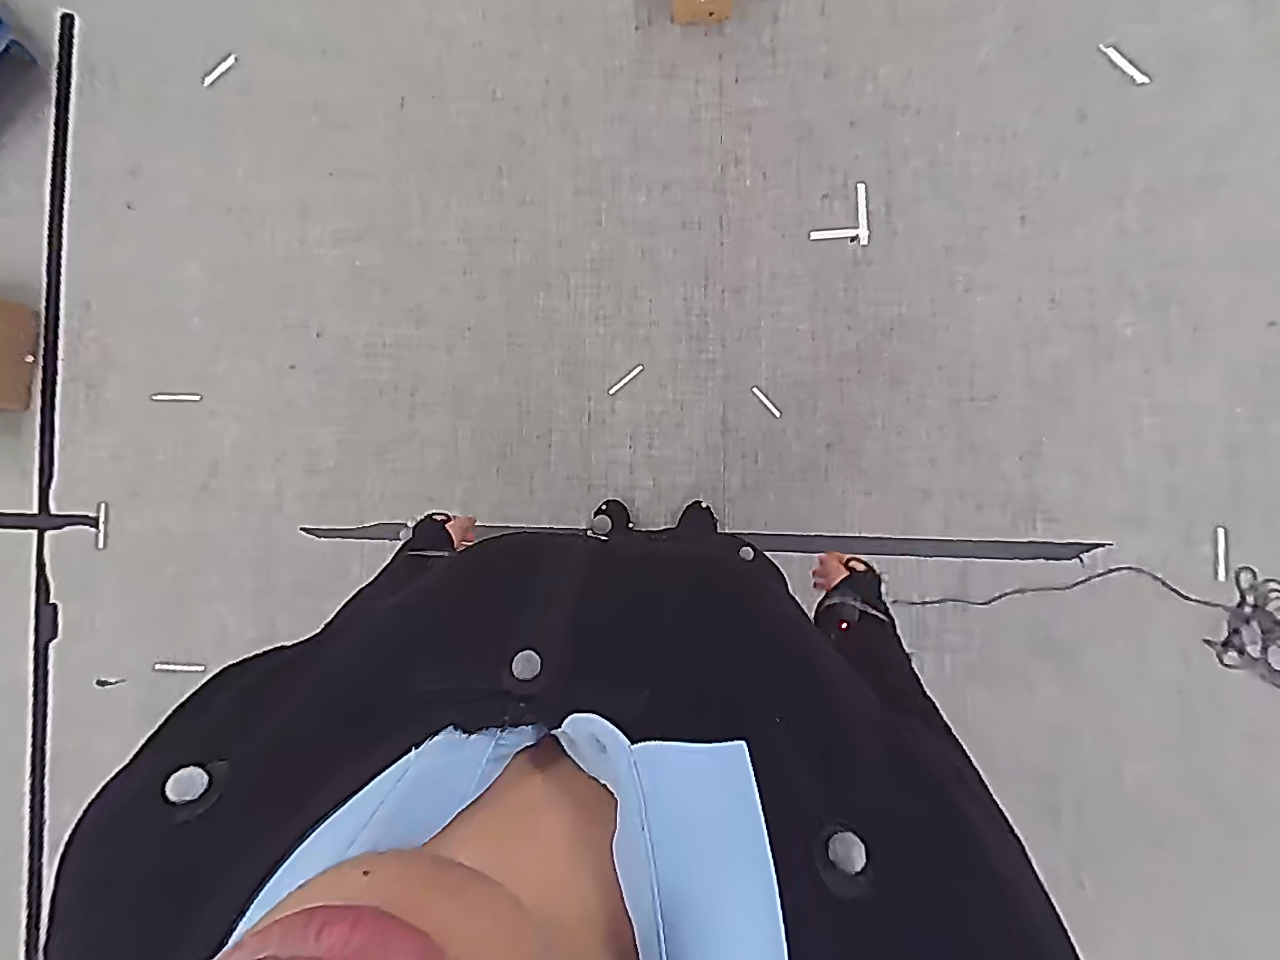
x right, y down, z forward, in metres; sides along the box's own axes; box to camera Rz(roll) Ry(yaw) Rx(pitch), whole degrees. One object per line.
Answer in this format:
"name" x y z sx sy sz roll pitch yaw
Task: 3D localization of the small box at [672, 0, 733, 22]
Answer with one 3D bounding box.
"small box" 0.170 -1.392 1.468 0.168 0.176 0.179 -4 87 4
